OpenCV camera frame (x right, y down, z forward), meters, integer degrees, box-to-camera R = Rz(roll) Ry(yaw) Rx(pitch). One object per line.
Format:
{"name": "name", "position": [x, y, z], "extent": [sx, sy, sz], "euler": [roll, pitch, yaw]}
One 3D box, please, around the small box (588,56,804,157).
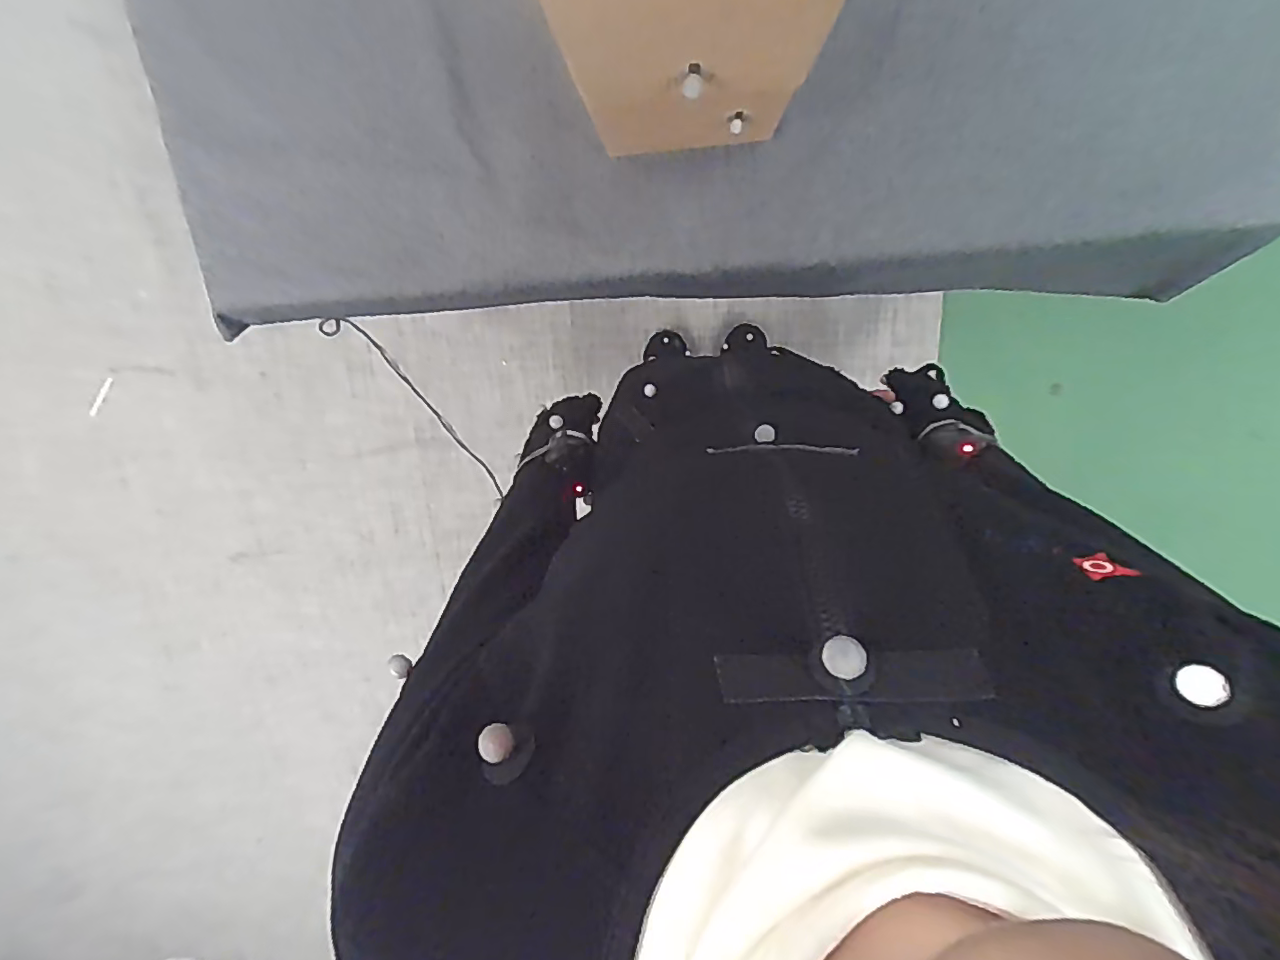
{"name": "small box", "position": [0.044, -0.415, 0.491], "extent": [0.179, 0.176, 0.168], "euler": [-3, 105, 7]}

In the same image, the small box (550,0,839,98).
{"name": "small box", "position": [0.034, -0.367, 0.335], "extent": [0.179, 0.176, 0.168], "euler": [-2, 105, 4]}
